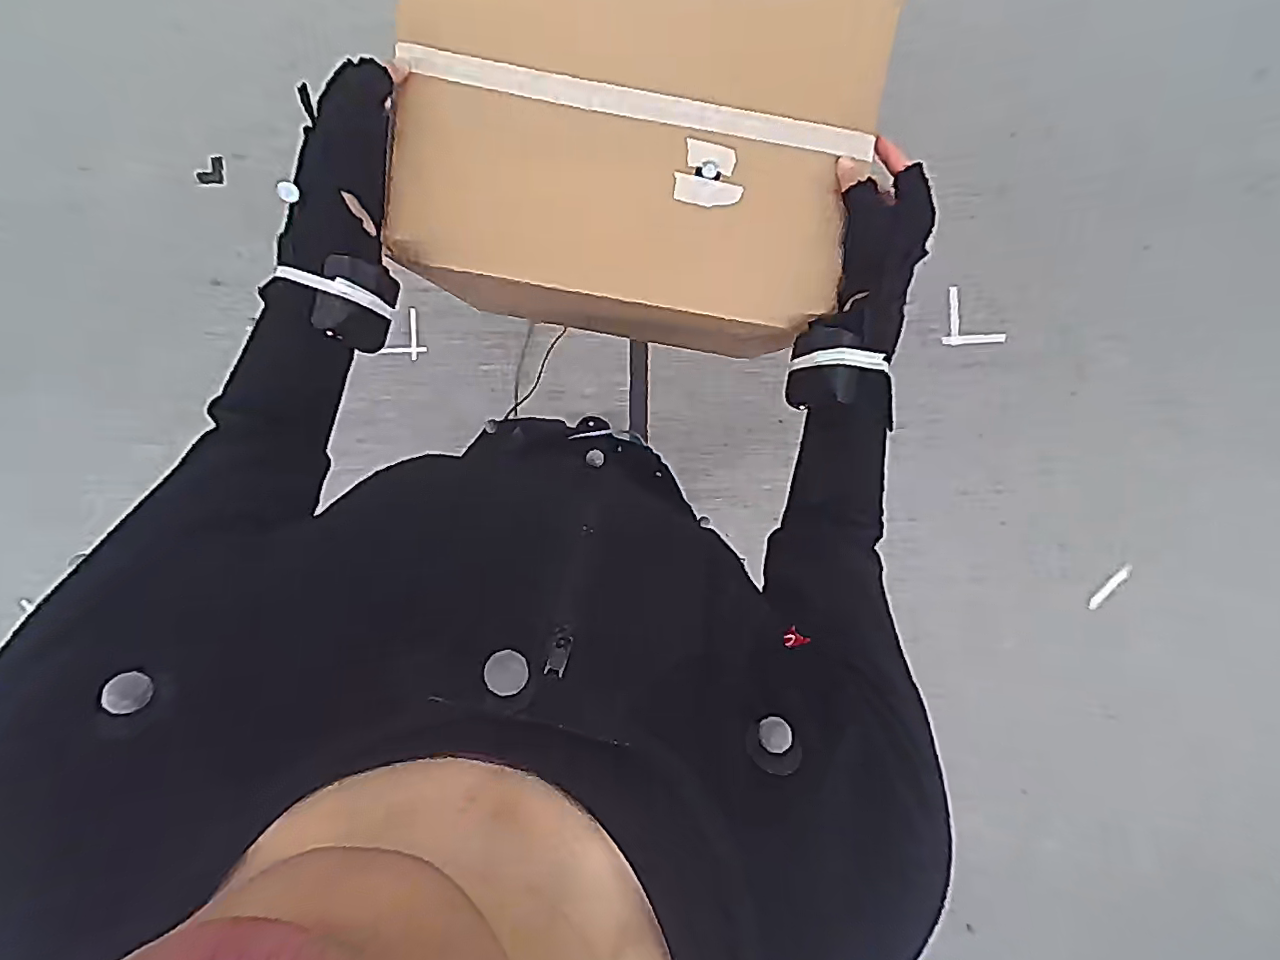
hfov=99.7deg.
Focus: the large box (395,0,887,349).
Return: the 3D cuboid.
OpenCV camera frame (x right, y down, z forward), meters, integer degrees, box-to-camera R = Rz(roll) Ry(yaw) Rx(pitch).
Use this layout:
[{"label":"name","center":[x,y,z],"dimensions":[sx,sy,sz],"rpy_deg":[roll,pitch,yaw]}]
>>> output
[{"label":"large box","center":[-0.009,-0.345,0.616],"dimensions":[0.408,0.320,0.320],"rpy_deg":[9,100,-4]}]
